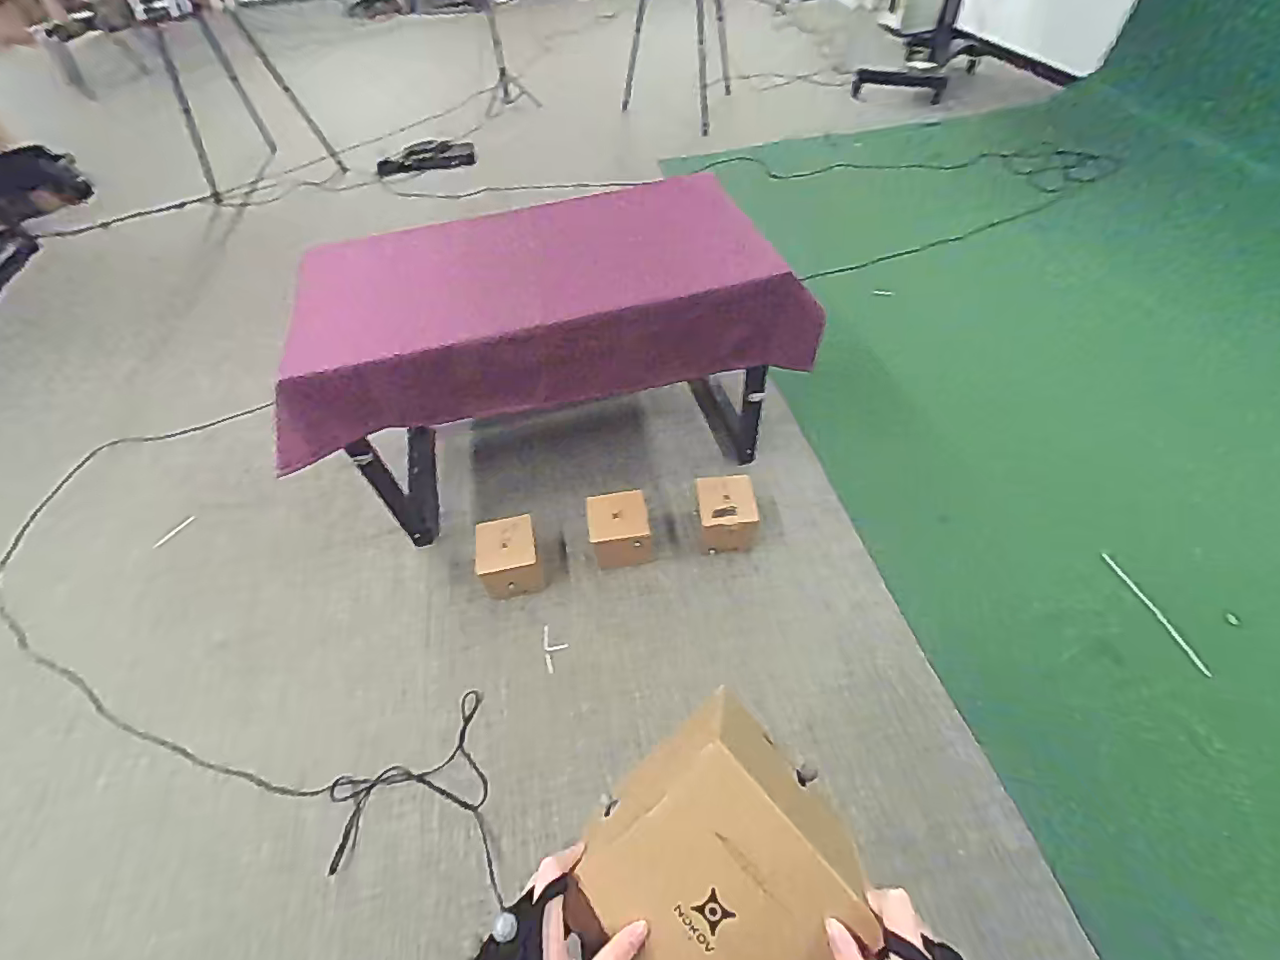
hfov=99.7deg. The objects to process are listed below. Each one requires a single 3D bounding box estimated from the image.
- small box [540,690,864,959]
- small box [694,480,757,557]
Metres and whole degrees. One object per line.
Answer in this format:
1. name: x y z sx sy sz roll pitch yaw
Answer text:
1. small box: 0.053 0.315 0.460 0.179 0.176 0.168 -45 78 2
2. small box: 0.262 0.126 1.672 0.168 0.176 0.179 -6 46 0
